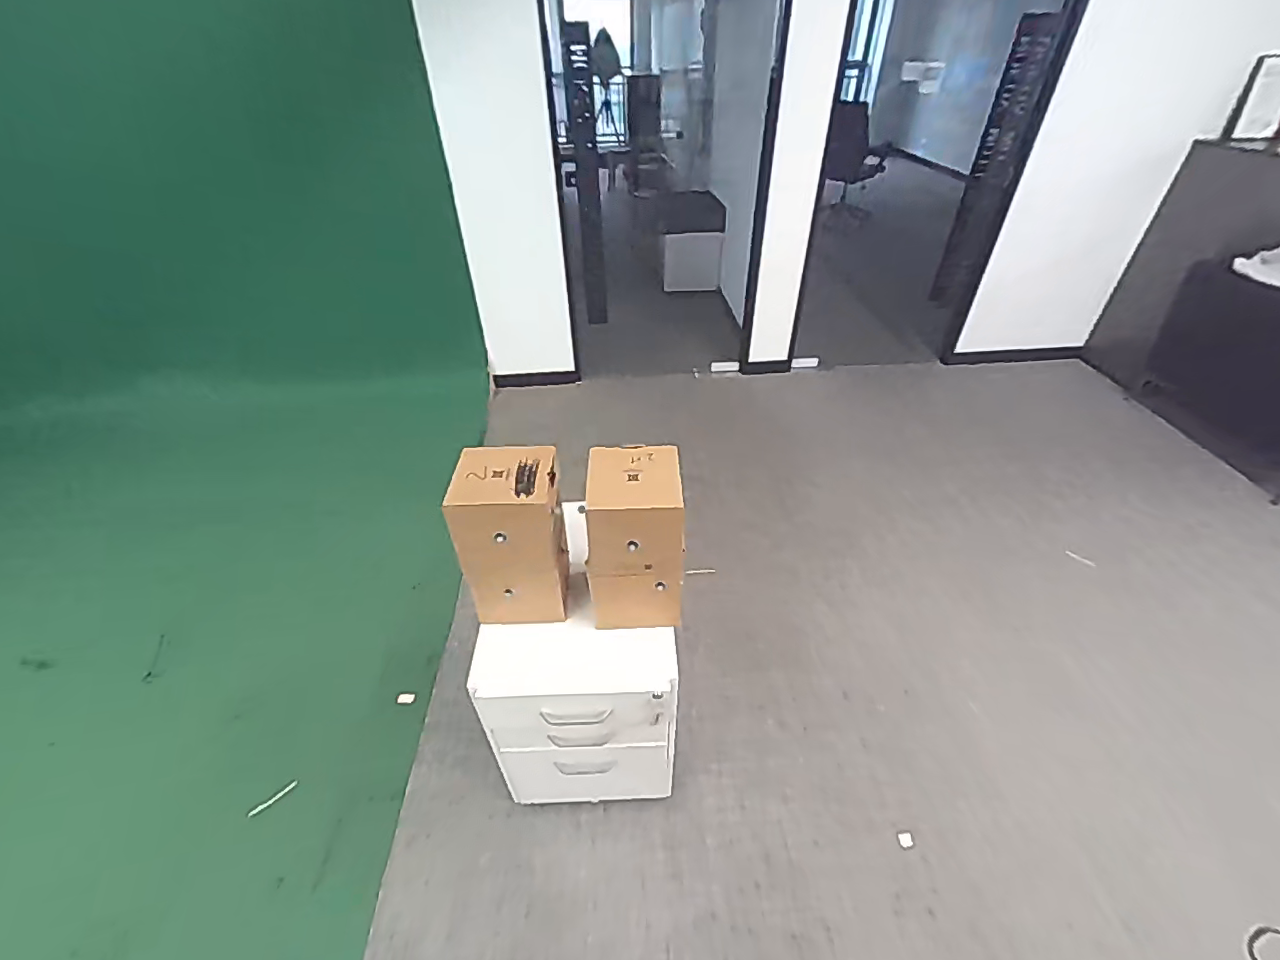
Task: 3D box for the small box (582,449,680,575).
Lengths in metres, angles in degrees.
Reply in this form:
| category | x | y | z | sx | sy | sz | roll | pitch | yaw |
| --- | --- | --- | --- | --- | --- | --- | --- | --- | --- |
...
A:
| category | x | y | z | sx | sy | sz | roll | pitch | yaw |
| --- | --- | --- | --- | --- | --- | --- | --- | --- | --- |
| small box | -0.014 | 0.061 | 1.001 | 0.168 | 0.176 | 0.179 | -1 | 39 | -1 |

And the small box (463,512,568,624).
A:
| category | x | y | z | sx | sy | sz | roll | pitch | yaw |
| --- | --- | --- | --- | --- | --- | --- | --- | --- | --- |
| small box | -0.246 | 0.183 | 1.115 | 0.179 | 0.176 | 0.168 | -1 | 40 | -3 |
